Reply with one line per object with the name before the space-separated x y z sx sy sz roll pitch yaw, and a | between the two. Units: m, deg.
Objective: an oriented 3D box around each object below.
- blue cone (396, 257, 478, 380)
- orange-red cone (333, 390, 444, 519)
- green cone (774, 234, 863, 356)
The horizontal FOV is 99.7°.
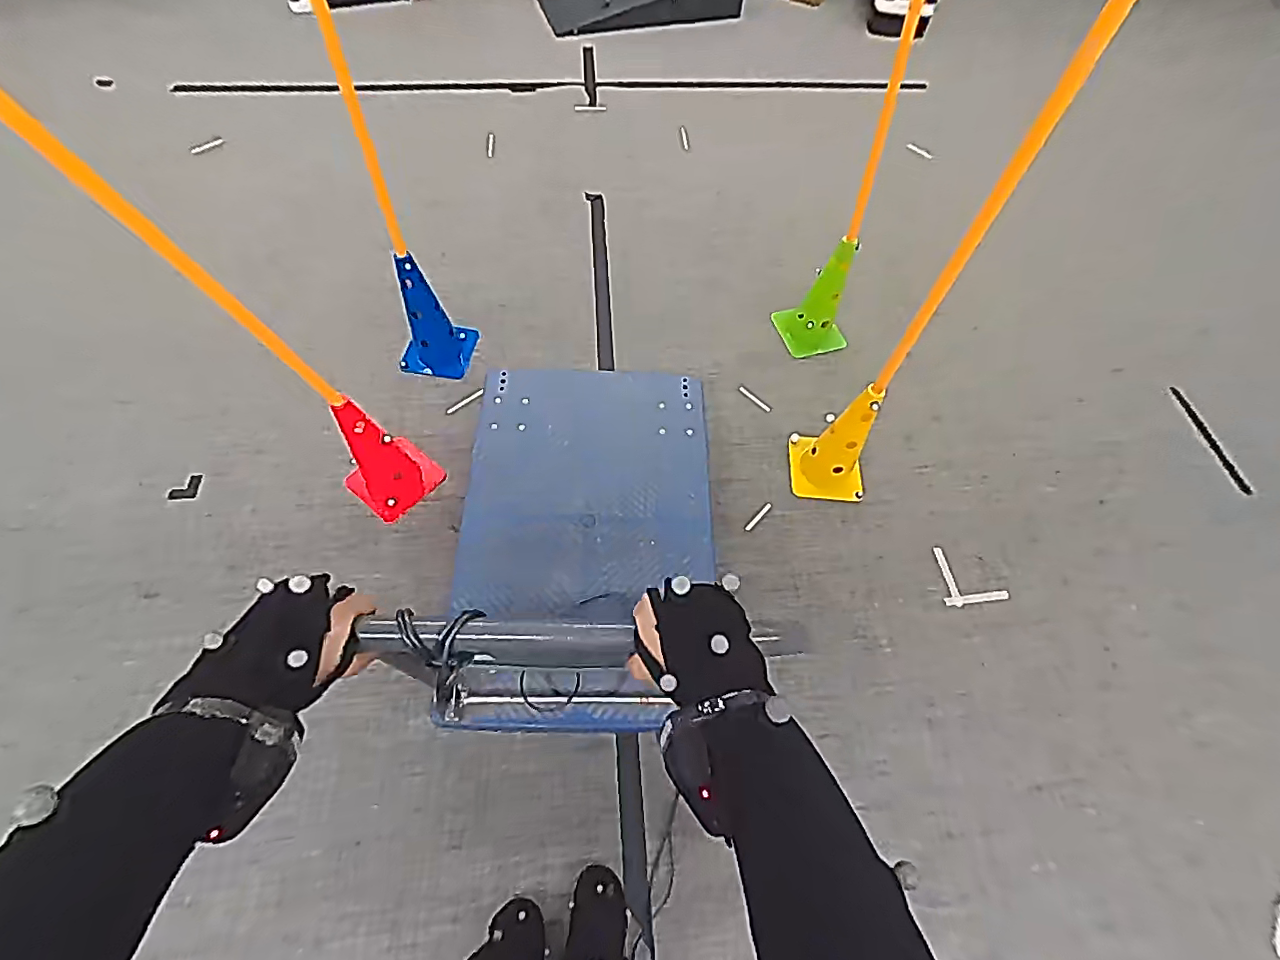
blue cone | -0.602 -0.473 1.525 0.193 0.380 0.192 10 62 2
orange-red cone | -0.644 -0.093 1.301 0.198 0.360 0.199 38 65 16
green cone | 0.571 -0.576 1.626 0.200 0.368 0.202 -15 65 -11
